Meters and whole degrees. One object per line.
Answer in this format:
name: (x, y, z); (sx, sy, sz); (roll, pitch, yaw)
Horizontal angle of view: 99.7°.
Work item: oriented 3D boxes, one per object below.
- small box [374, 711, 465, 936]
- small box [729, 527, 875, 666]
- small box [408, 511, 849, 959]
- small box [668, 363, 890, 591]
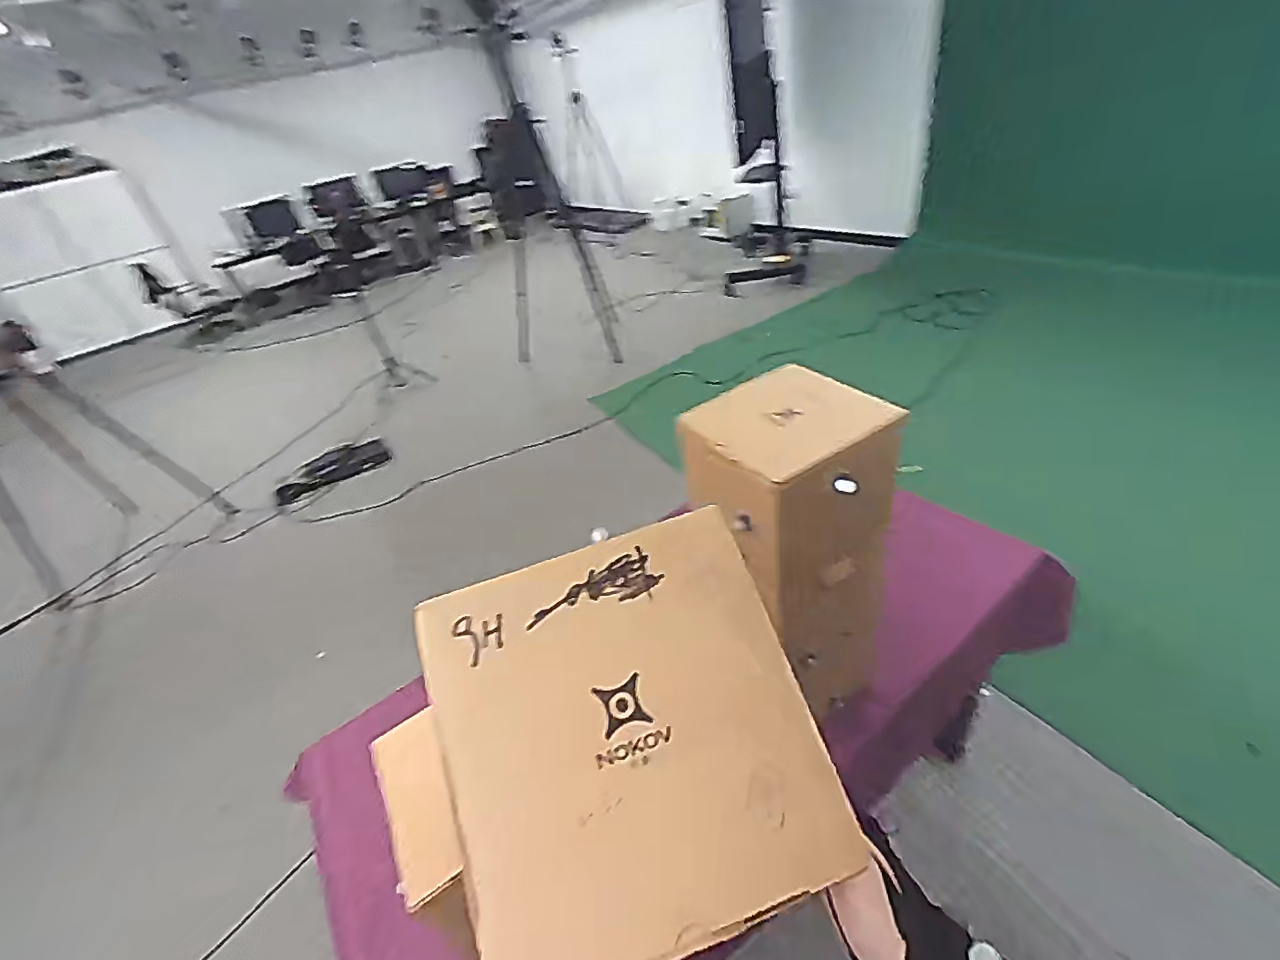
small box: (-0.145, 0.331, 0.564); (0.168, 0.176, 0.179); (-30, 39, -20)
small box: (0.187, 0.119, 0.724); (0.168, 0.176, 0.179); (-29, 38, -18)
small box: (-0.011, 0.143, 0.324); (0.168, 0.176, 0.179); (-18, 70, -7)
small box: (0.158, -0.006, 0.624); (0.179, 0.176, 0.168); (-27, 39, -17)
